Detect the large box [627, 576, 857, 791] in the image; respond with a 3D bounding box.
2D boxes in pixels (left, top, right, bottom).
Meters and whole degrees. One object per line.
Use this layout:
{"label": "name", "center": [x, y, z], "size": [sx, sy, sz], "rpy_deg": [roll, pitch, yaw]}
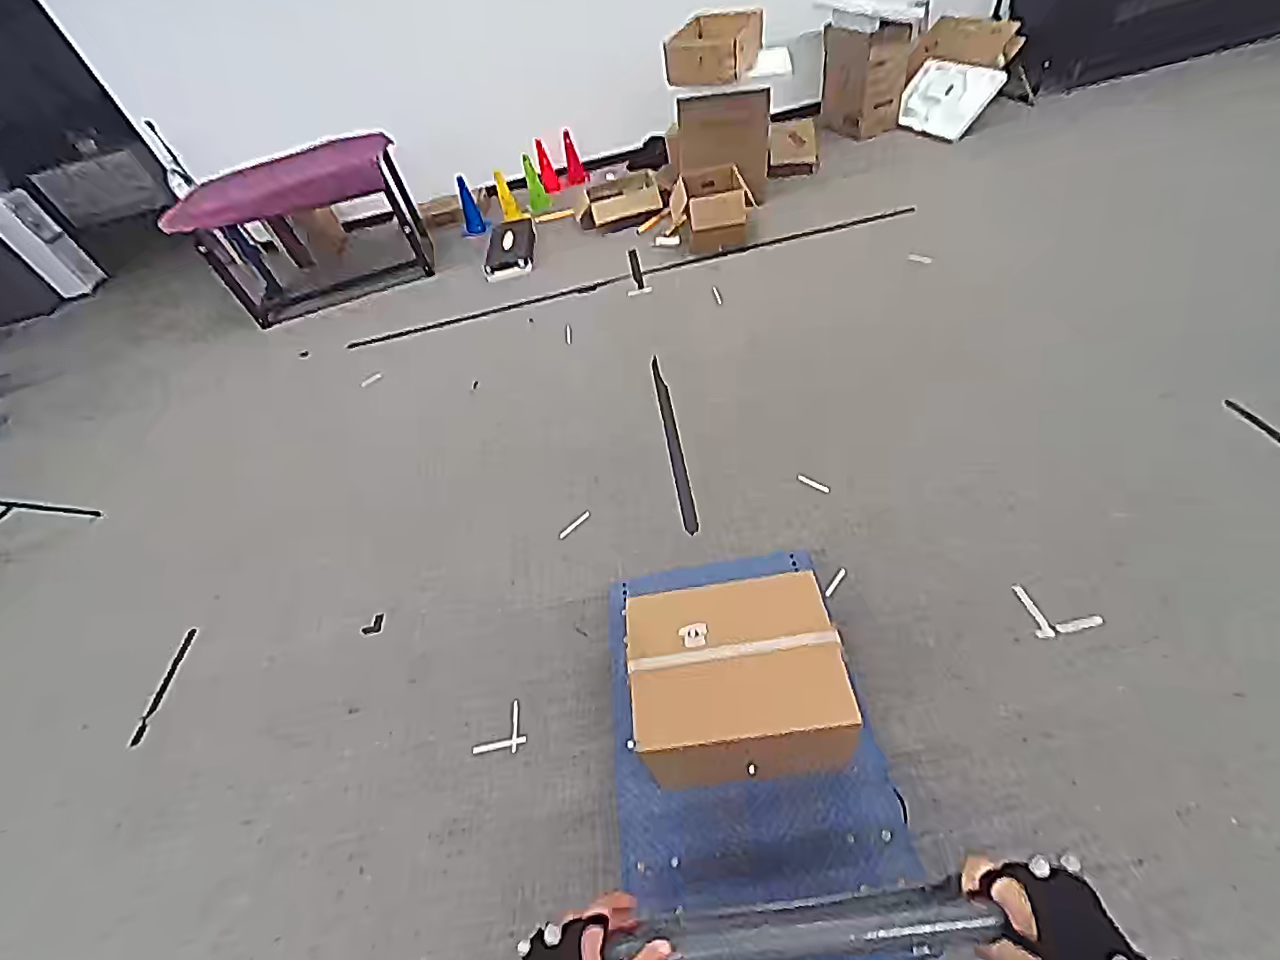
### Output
{"label": "large box", "center": [0.207, 0.449, 1.173], "size": [0.408, 0.320, 0.320], "rpy_deg": [-11, 46, 6]}
